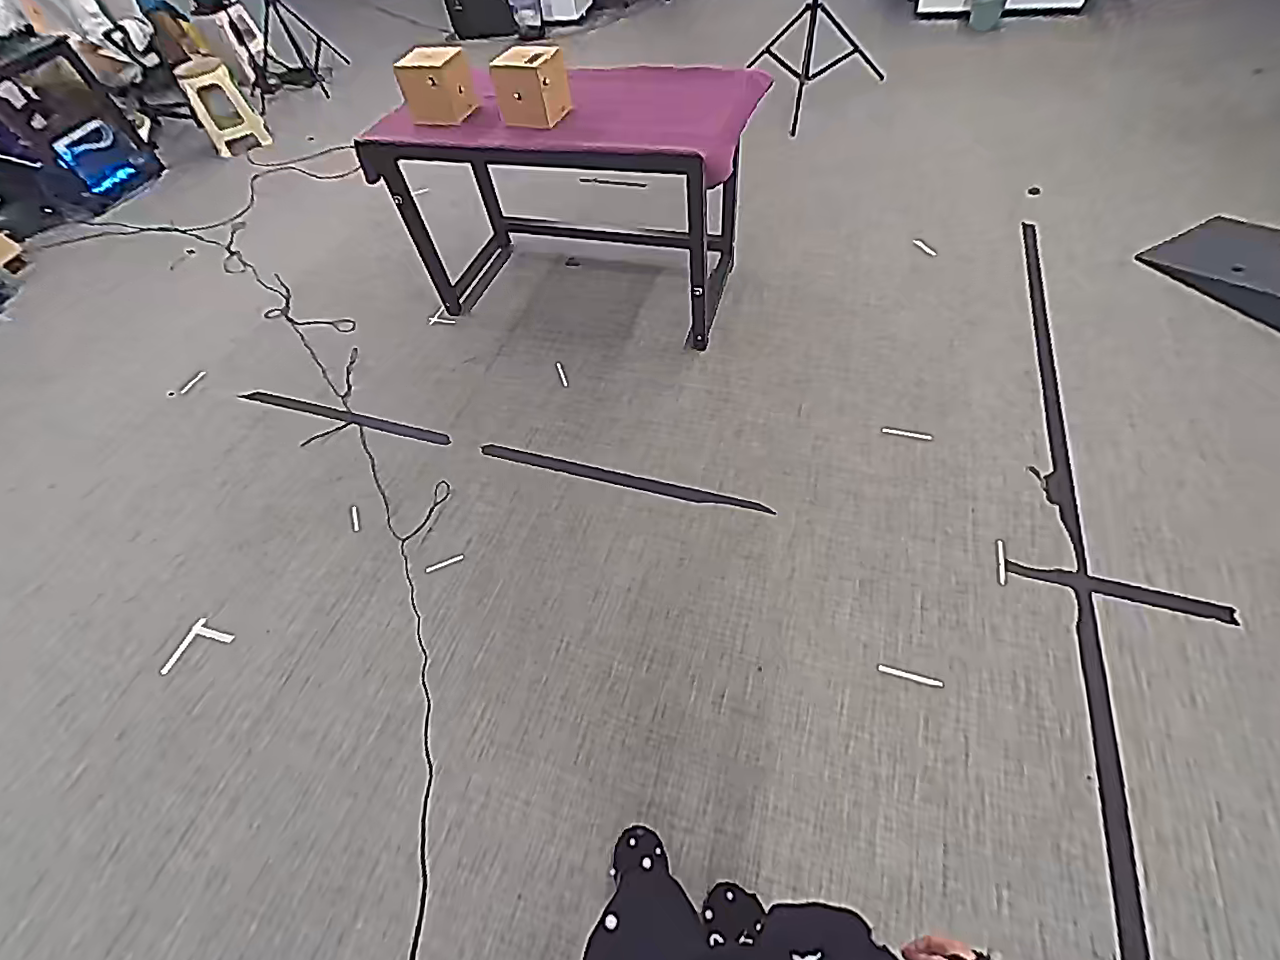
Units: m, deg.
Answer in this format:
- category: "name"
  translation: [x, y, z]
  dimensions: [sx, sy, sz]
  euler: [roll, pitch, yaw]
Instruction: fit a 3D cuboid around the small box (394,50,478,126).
- category: "small box"
  translation: [-0.669, -1.300, 1.798]
  dimensions: [0.179, 0.176, 0.168]
  euler: [10, 55, 14]
